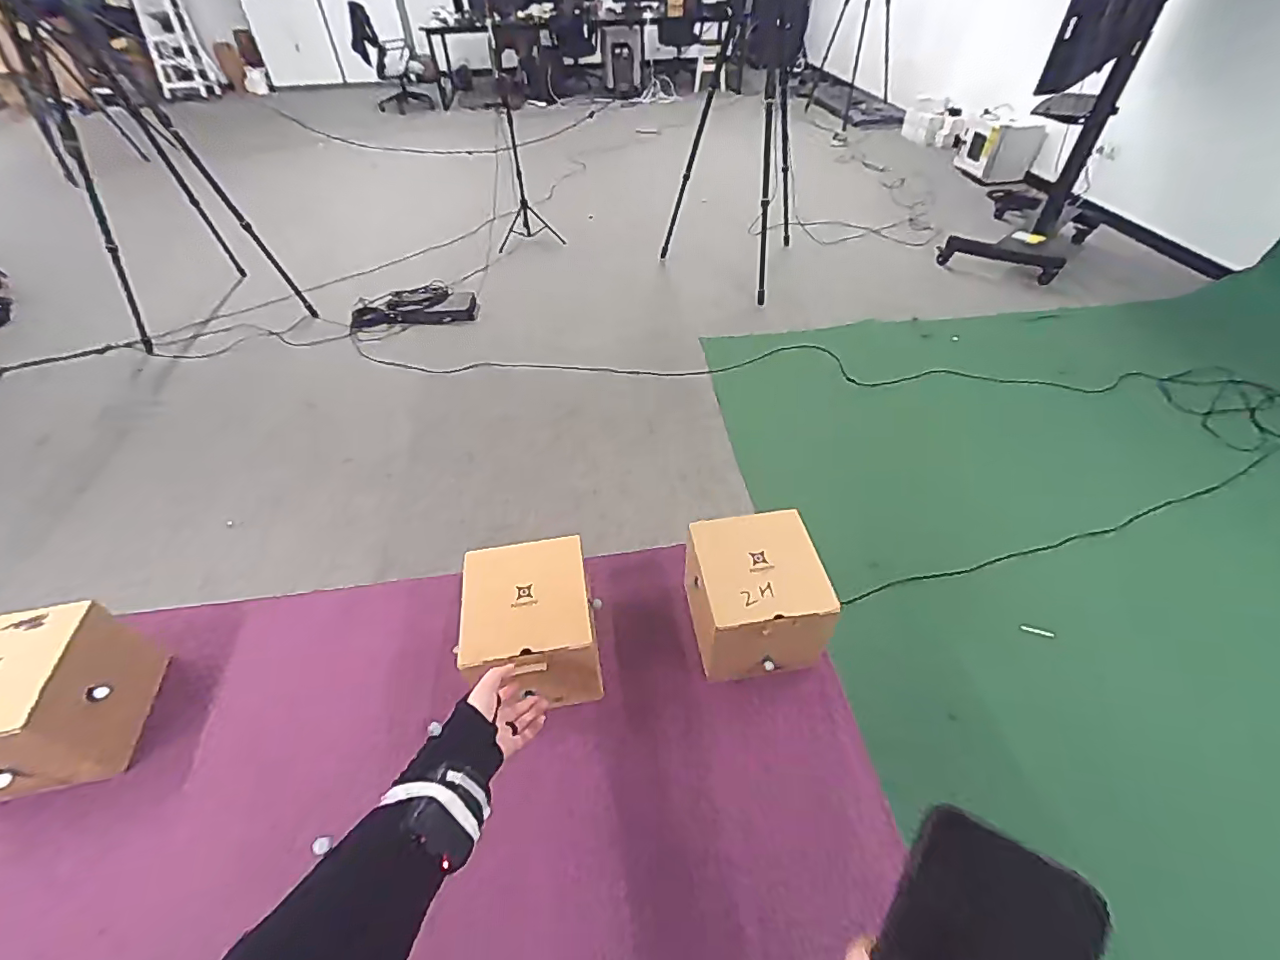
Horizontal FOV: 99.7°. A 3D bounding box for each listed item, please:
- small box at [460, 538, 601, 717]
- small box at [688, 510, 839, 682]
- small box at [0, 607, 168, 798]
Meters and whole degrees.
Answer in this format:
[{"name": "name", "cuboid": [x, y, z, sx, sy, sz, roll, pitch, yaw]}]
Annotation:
[{"name": "small box", "cuboid": [-0.150, 0.211, 0.773, 0.168, 0.176, 0.179, -8, 47, -6]}, {"name": "small box", "cuboid": [0.165, 0.170, 0.795, 0.168, 0.176, 0.179, -8, 47, -3]}, {"name": "small box", "cuboid": [-0.783, 0.297, 0.712, 0.168, 0.176, 0.179, -10, 47, -8]}]
